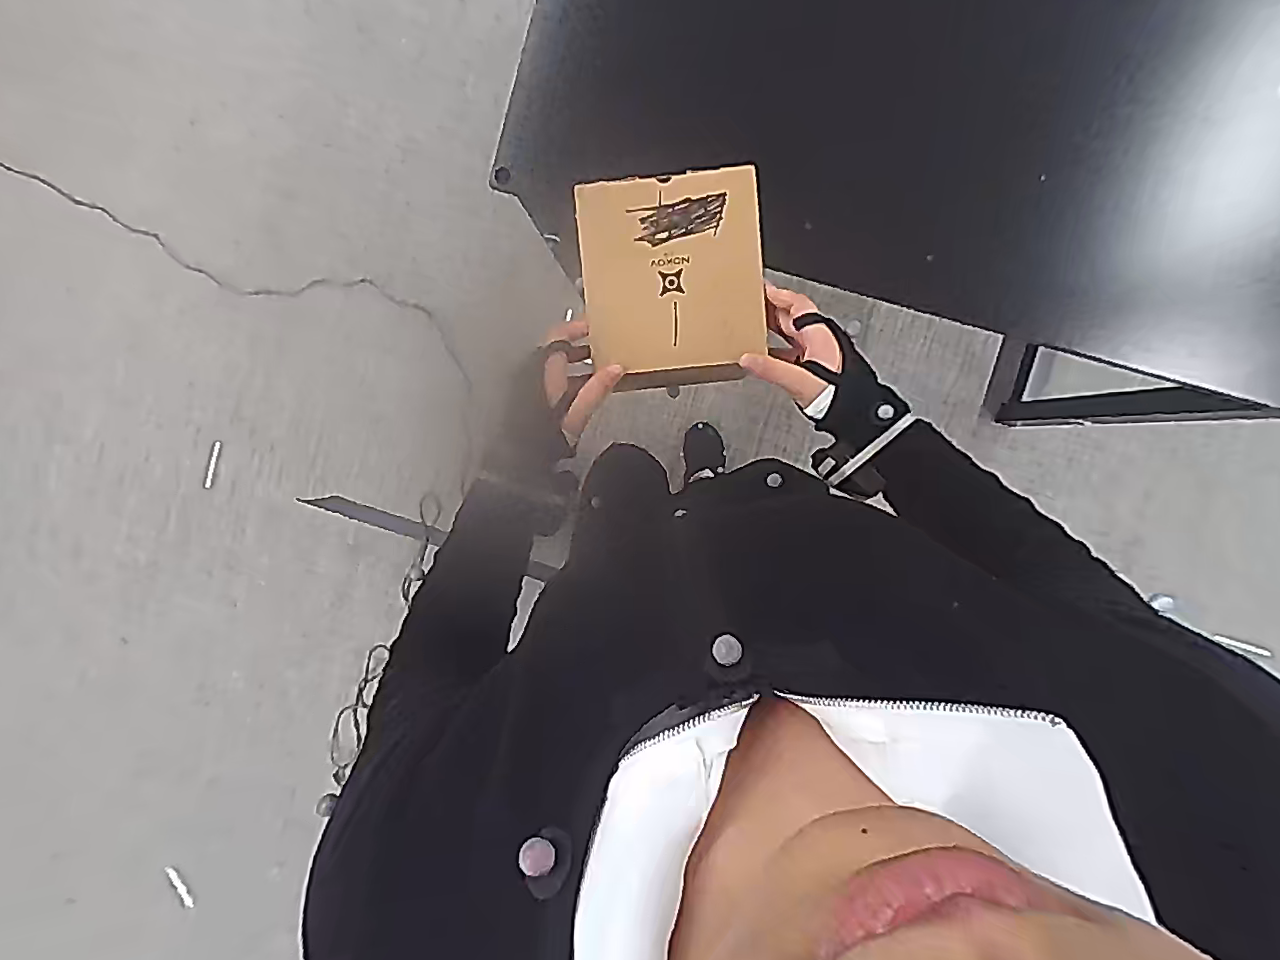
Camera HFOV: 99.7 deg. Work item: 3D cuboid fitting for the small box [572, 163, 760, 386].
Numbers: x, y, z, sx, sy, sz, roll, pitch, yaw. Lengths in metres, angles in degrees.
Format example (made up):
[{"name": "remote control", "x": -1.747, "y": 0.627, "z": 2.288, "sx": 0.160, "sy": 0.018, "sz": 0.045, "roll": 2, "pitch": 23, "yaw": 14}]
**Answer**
[{"name": "small box", "x": 0.027, "y": -0.203, "z": 0.581, "sx": 0.168, "sy": 0.176, "sz": 0.179, "roll": -5, "pitch": 95, "yaw": 4}]
